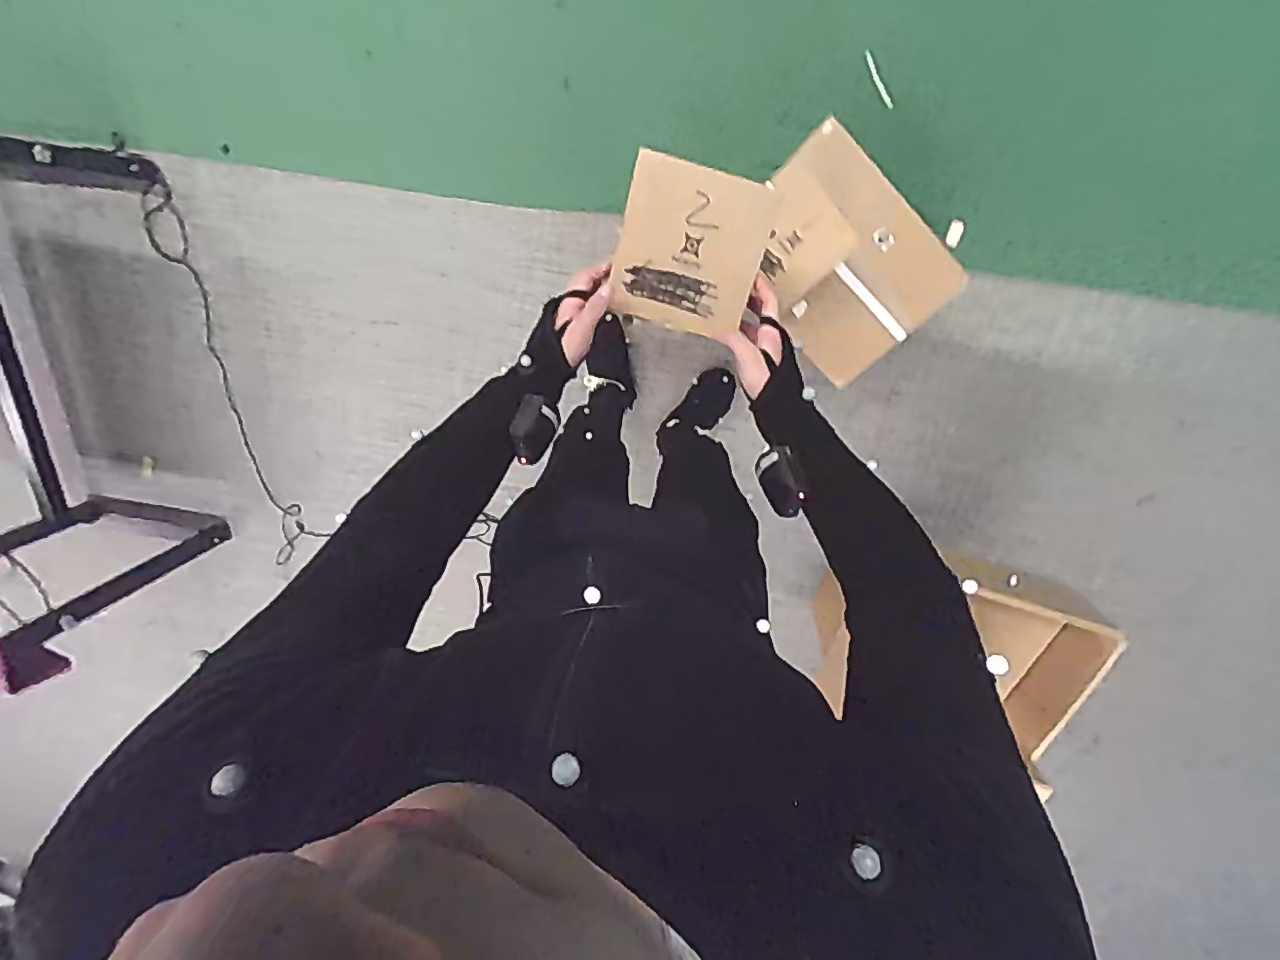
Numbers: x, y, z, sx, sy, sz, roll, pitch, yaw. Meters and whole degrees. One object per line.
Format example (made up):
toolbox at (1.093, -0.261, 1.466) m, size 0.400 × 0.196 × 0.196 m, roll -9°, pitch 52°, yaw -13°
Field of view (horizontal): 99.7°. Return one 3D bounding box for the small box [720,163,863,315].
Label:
small box at (0.263, -0.423, 0.971) m, size 0.179 × 0.176 × 0.168 m, roll -39°, pitch 102°, yaw 20°
